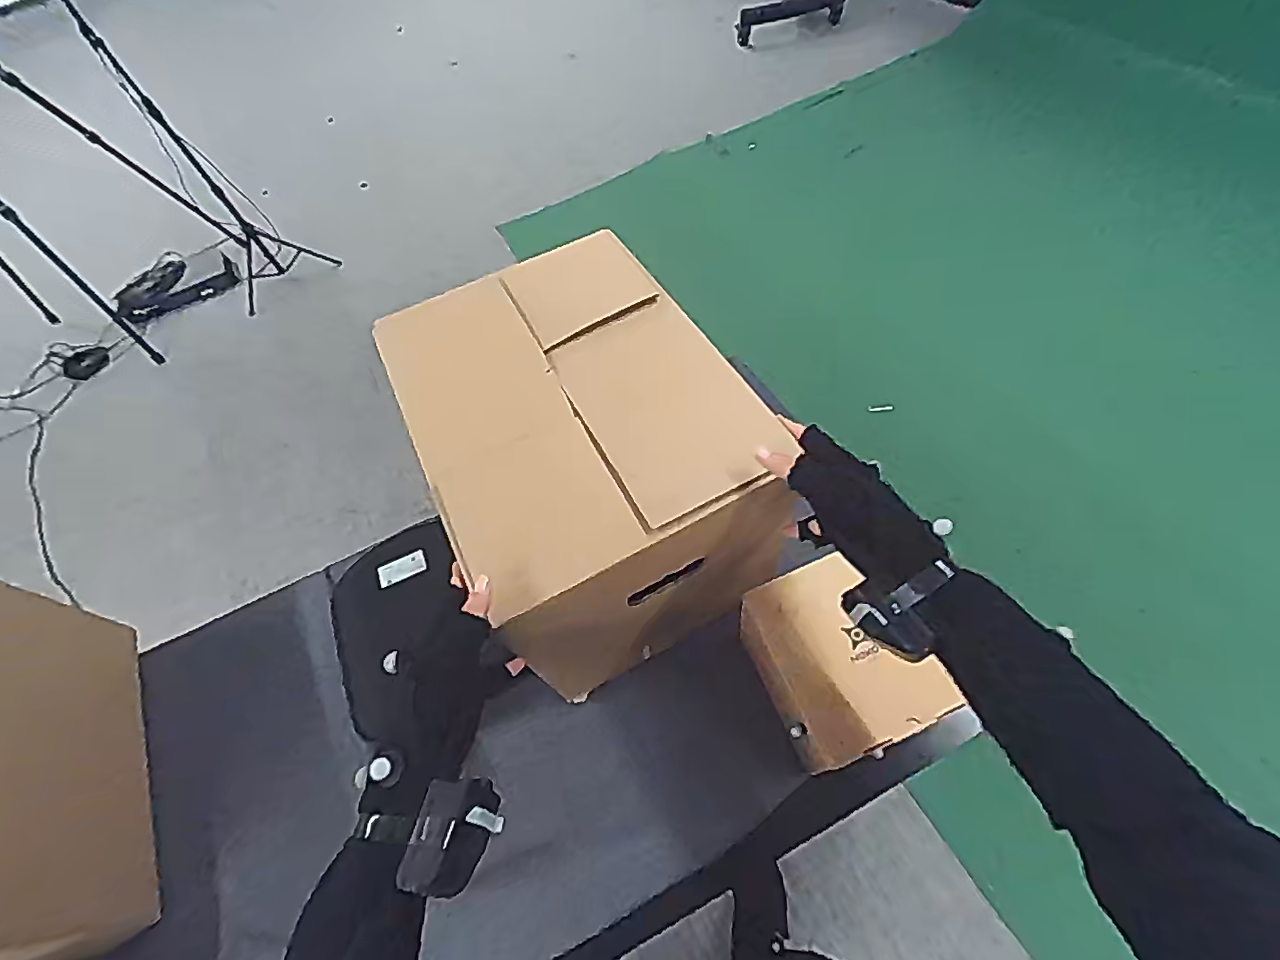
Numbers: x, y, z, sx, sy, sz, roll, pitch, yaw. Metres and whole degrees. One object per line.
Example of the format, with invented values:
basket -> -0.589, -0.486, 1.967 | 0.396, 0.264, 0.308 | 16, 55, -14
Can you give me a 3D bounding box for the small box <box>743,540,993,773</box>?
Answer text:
small box -> 0.223, 0.198, 0.590 | 0.168, 0.176, 0.179 | -23, 61, -4
